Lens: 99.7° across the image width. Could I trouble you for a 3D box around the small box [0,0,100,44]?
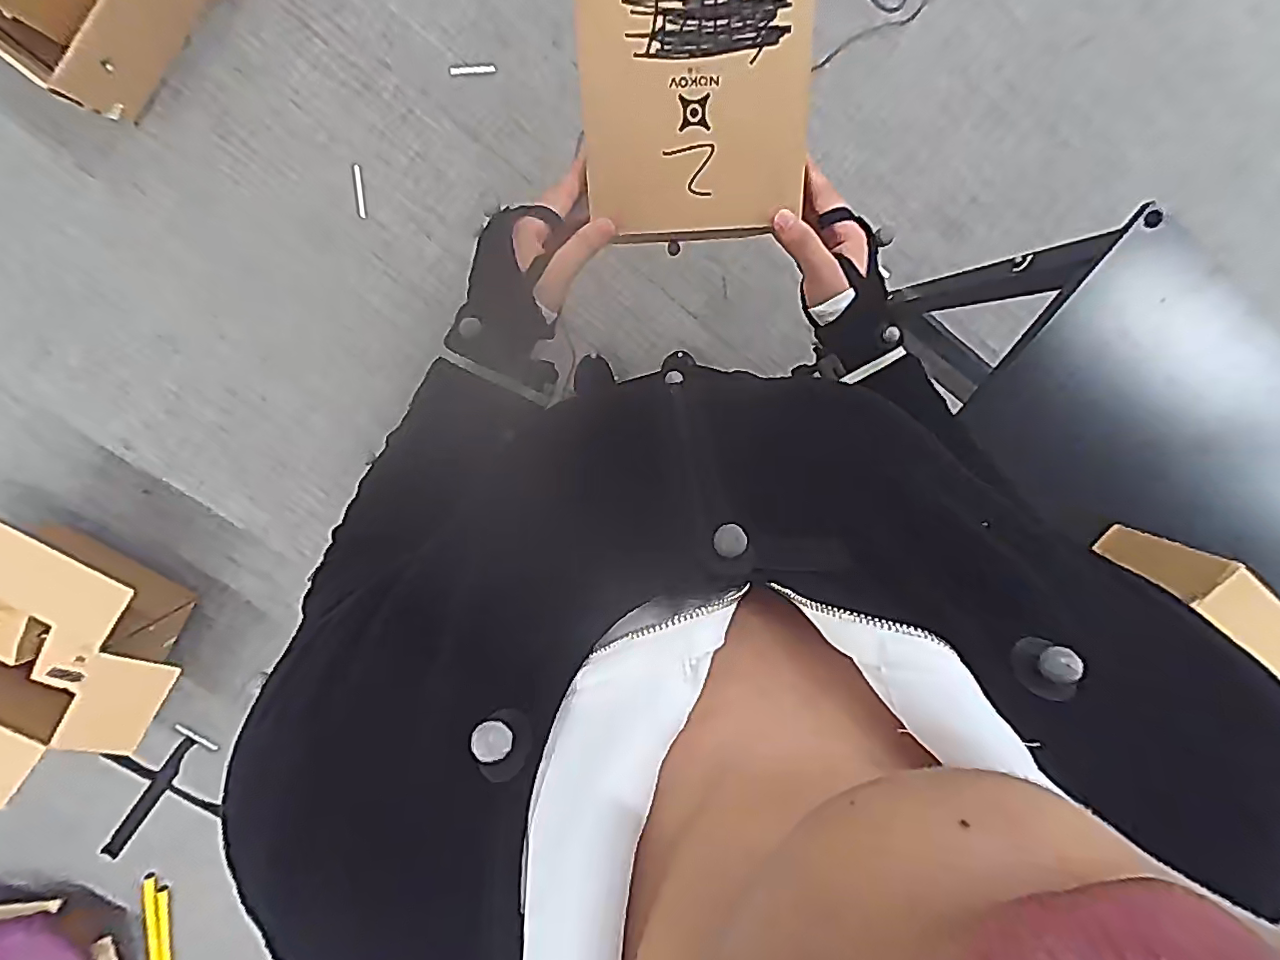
[{"bbox_3d":[-1.278,-1.063,1.108,0.168,0.176,0.179,38,96,-11],"label":"small box"}]
